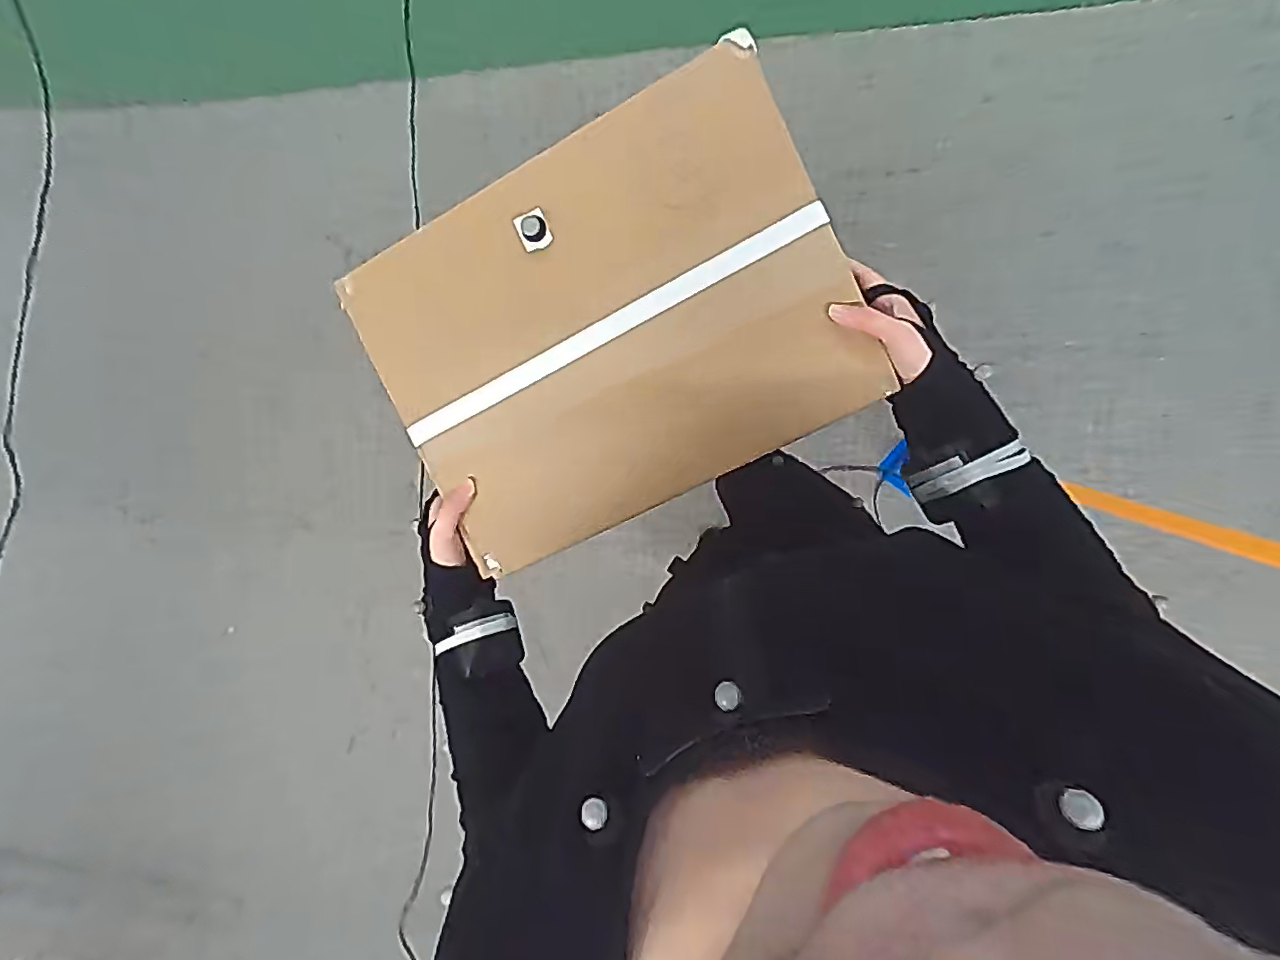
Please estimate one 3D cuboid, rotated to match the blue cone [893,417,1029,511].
[{"bbox_3d":[0.728,-0.035,1.194,0.192,0.380,0.193,34,97,5],"label":"blue cone"}]
